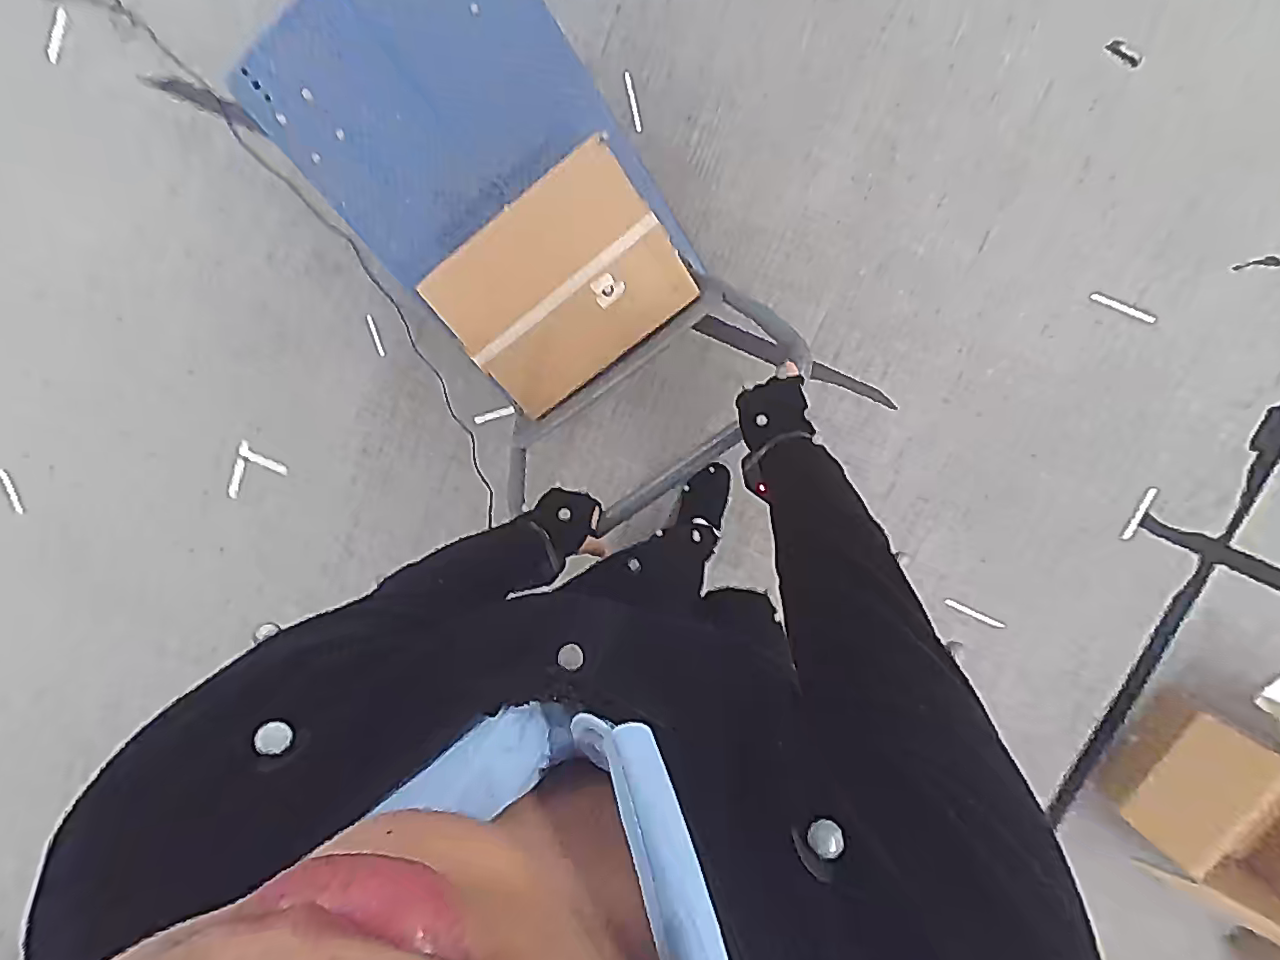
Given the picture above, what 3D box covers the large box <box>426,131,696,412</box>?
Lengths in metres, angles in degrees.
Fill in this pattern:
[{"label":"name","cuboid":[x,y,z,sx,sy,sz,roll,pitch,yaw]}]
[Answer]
[{"label":"large box","cuboid":[-0.157,-0.413,1.112,0.408,0.320,0.320,-36,115,9]}]
